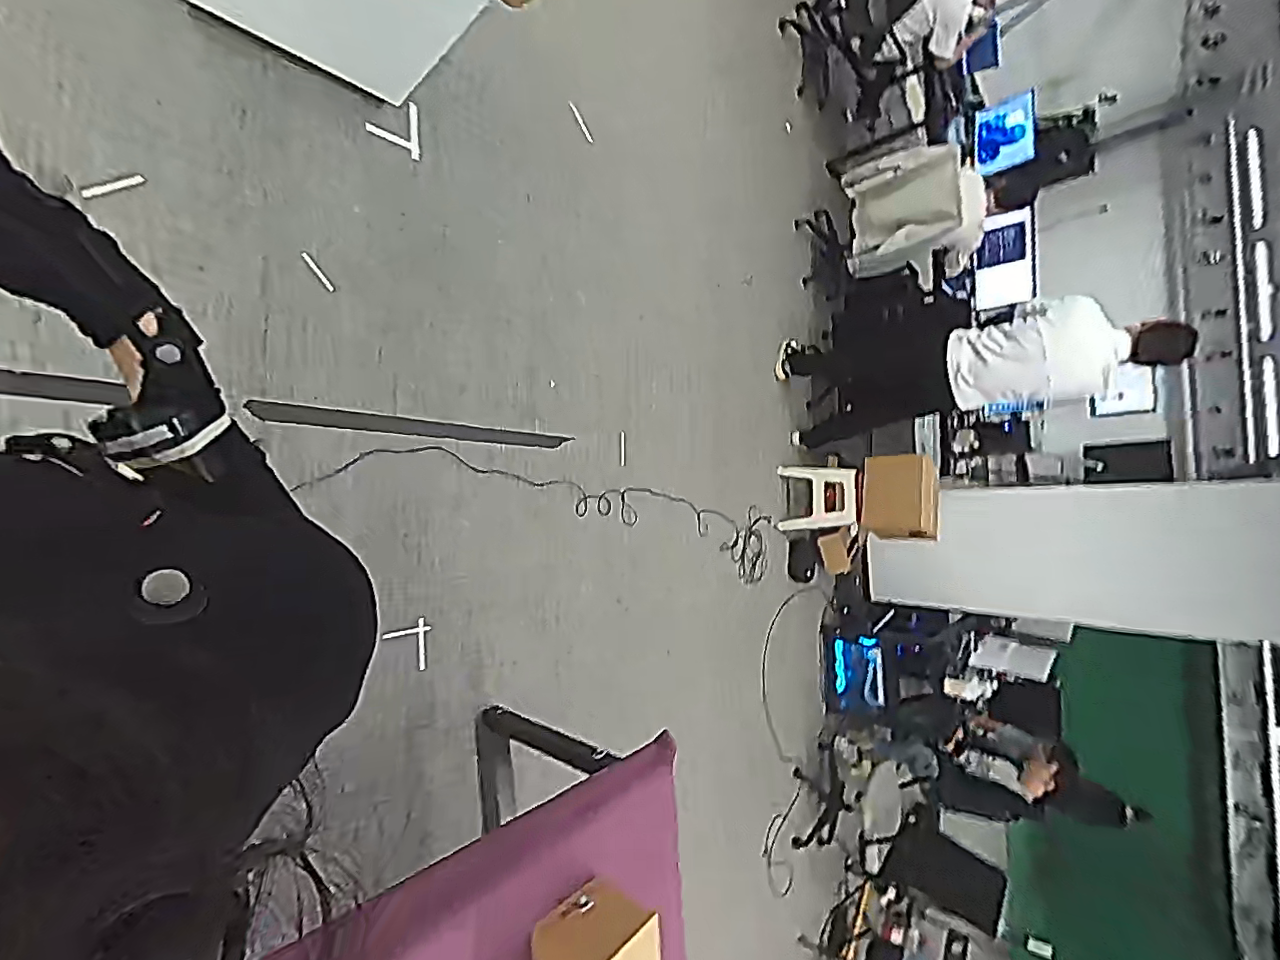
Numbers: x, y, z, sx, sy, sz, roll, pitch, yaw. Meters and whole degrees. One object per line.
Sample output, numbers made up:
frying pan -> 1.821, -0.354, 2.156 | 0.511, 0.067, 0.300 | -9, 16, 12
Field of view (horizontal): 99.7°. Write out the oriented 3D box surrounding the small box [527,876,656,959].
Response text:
small box -> -0.088, 0.883, 0.988 | 0.168, 0.176, 0.179 | -6, 91, -50
